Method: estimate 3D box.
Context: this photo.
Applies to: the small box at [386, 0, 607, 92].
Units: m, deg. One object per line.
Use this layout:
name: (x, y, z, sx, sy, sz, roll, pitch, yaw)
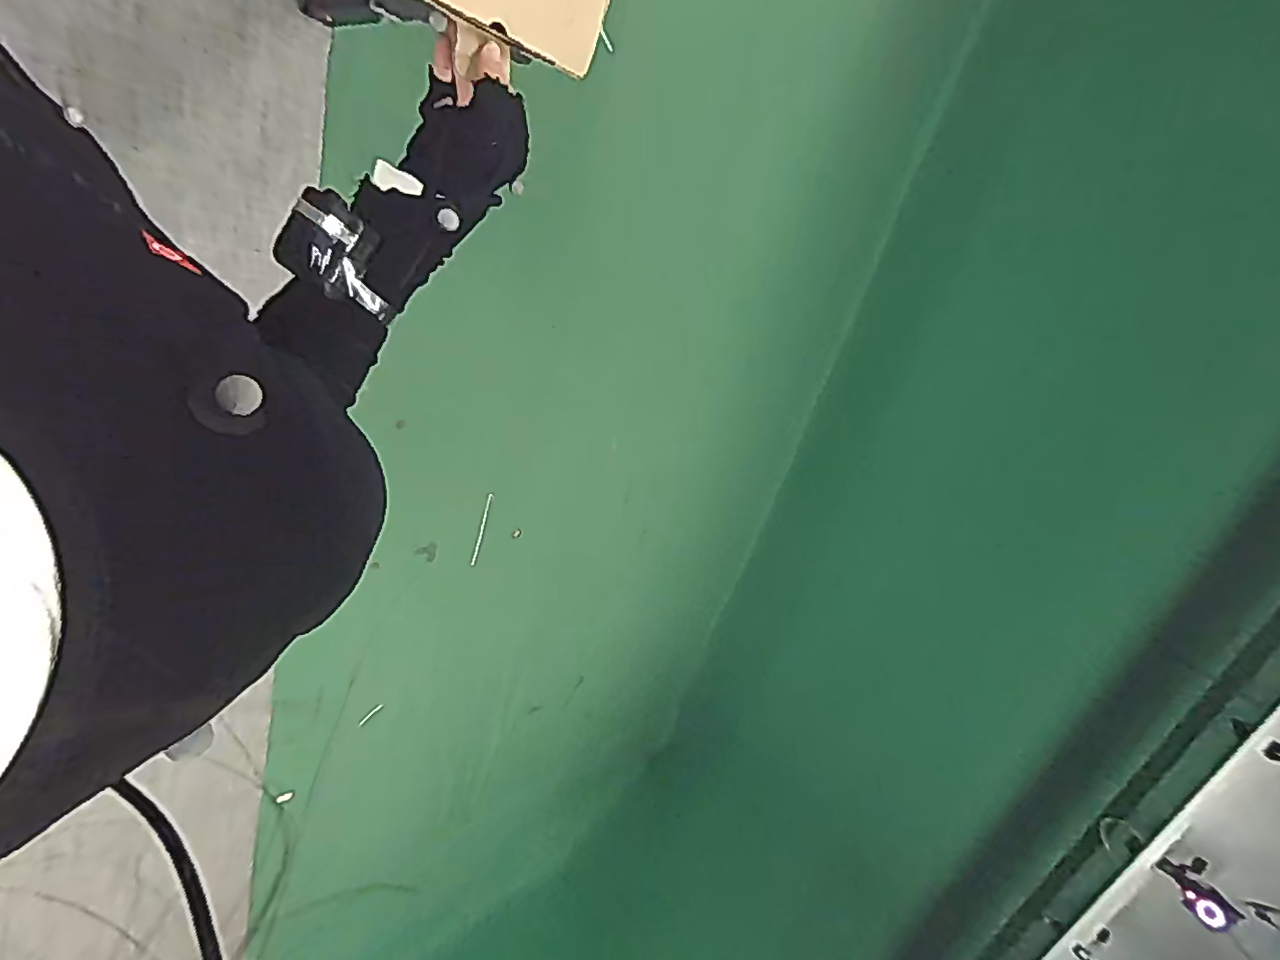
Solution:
small box: (-0.121, -0.431, 0.386, 0.168, 0.176, 0.179, -12, 140, -46)
